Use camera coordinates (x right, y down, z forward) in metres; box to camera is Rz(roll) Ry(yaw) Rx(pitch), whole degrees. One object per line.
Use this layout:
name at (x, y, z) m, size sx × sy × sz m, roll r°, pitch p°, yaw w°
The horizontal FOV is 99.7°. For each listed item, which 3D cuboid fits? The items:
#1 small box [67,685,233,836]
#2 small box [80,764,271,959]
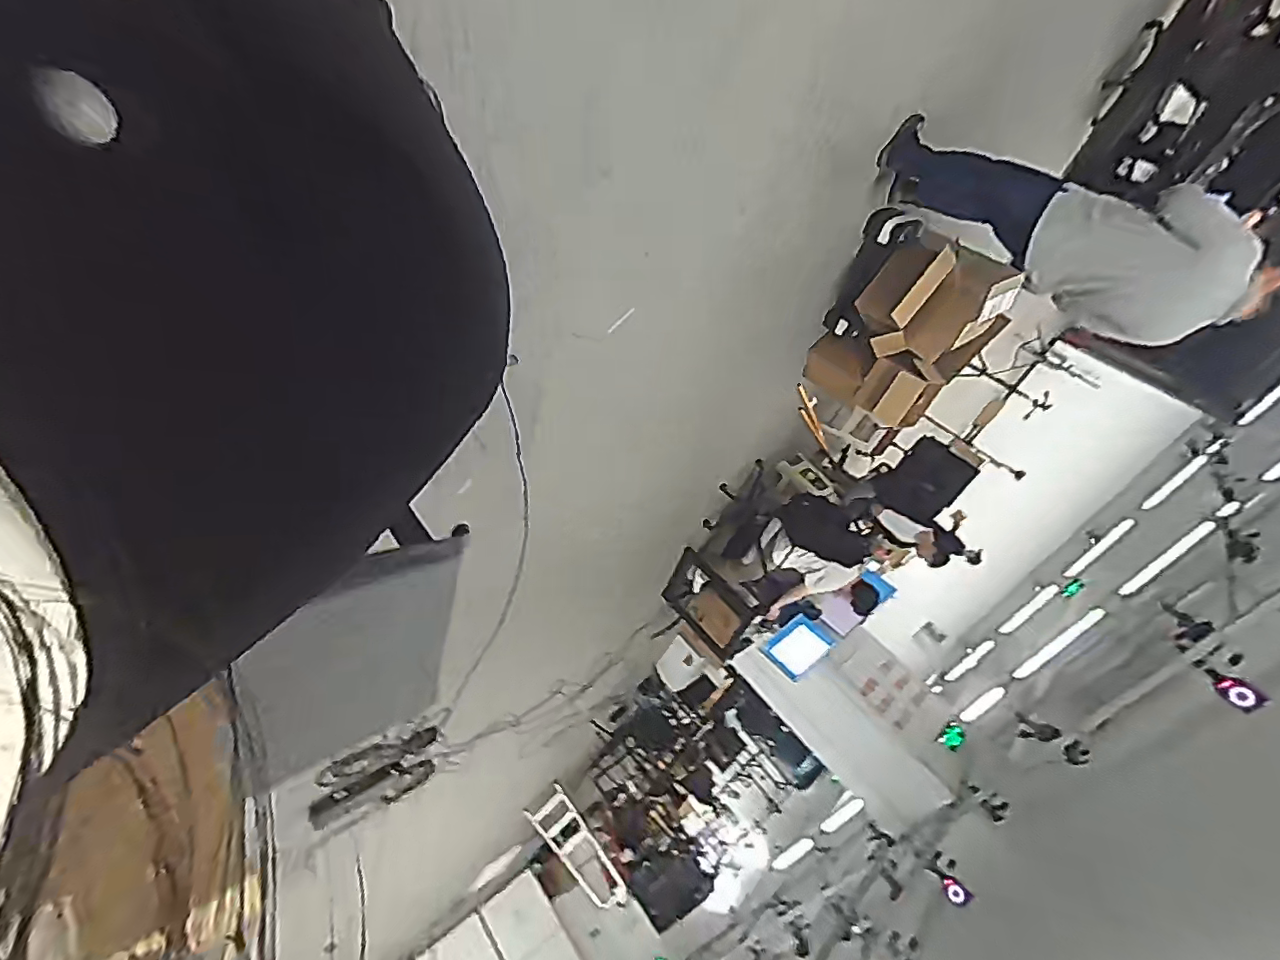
small box at (-0.765, 0.457, 0.859) m, size 0.168 × 0.176 × 0.179 m, roll -18°, pitch 142°, yaw -42°
small box at (-0.663, 0.558, 0.778) m, size 0.179 × 0.176 × 0.168 m, roll -18°, pitch 142°, yaw -44°
